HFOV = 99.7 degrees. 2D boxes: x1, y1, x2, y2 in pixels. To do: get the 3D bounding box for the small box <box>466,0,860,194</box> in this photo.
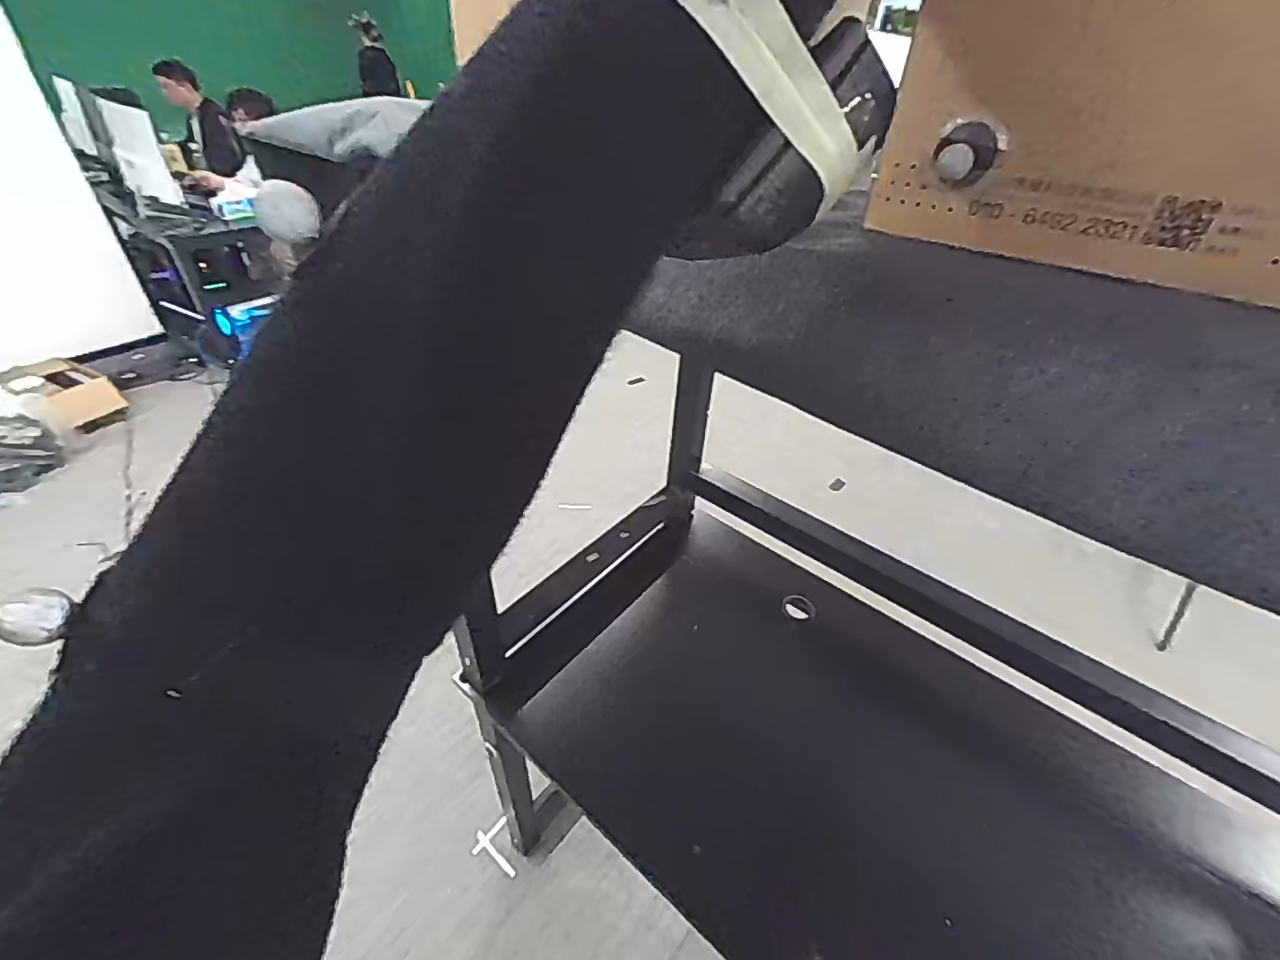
[{"bbox_3d":[0.018,-0.268,0.301,0.168,0.176,0.179,30,43,27],"label":"small box"}]
